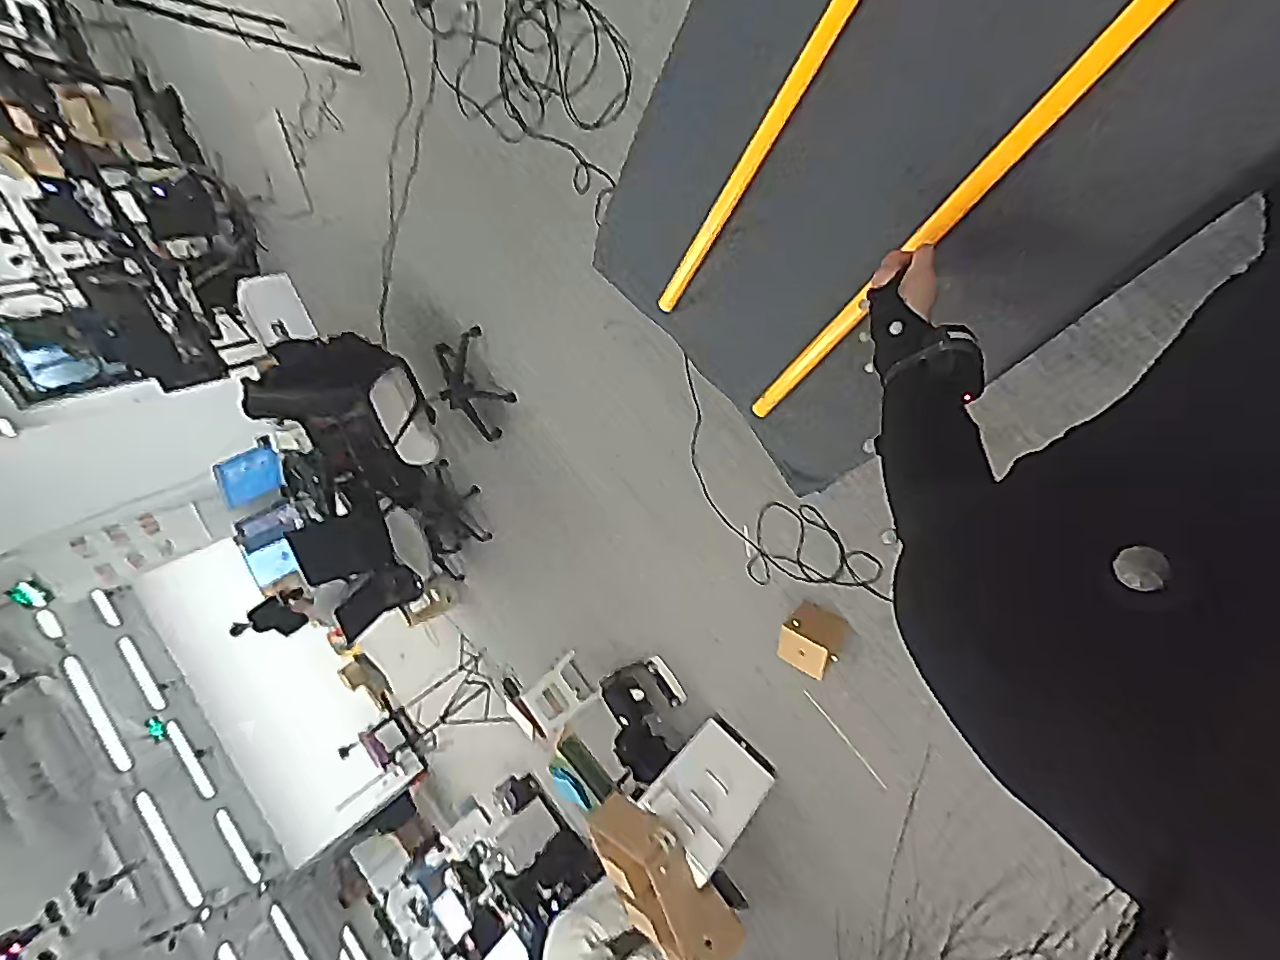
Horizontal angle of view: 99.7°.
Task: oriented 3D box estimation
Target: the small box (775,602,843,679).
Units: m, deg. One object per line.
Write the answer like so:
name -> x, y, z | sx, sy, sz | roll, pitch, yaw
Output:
small box -> 0.615, 0.574, 1.963 | 0.179, 0.176, 0.168 | 24, 130, 35
